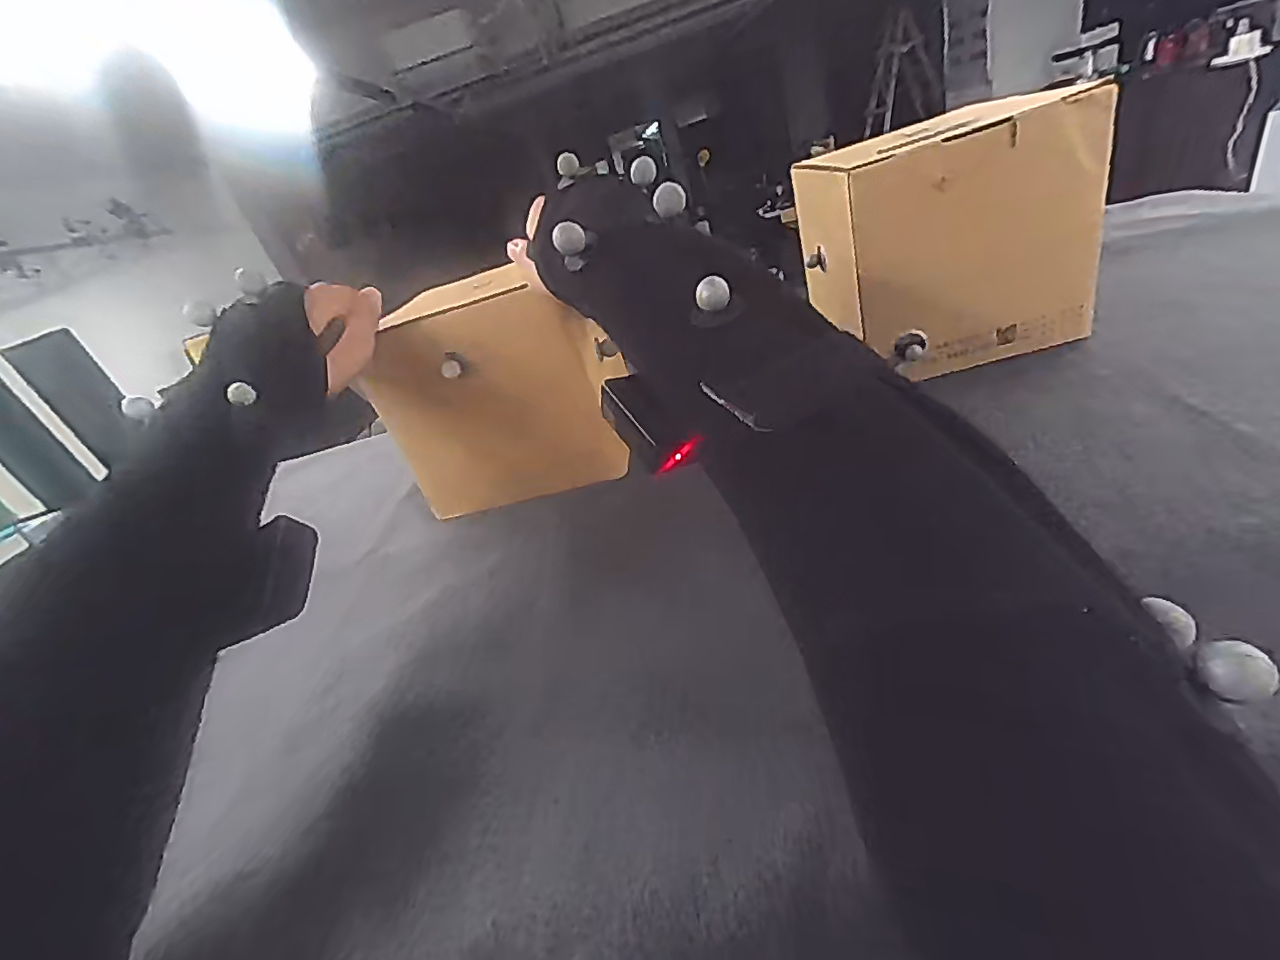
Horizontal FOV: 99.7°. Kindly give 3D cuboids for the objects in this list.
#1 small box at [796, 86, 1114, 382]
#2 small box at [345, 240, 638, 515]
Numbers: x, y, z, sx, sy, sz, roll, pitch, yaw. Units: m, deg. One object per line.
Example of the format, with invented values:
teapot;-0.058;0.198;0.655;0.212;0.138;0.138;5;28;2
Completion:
small box;0.243;-0.196;0.455;0.168;0.176;0.179;-14;29;10
small box;-0.107;-0.092;0.485;0.179;0.176;0.168;-13;30;12
